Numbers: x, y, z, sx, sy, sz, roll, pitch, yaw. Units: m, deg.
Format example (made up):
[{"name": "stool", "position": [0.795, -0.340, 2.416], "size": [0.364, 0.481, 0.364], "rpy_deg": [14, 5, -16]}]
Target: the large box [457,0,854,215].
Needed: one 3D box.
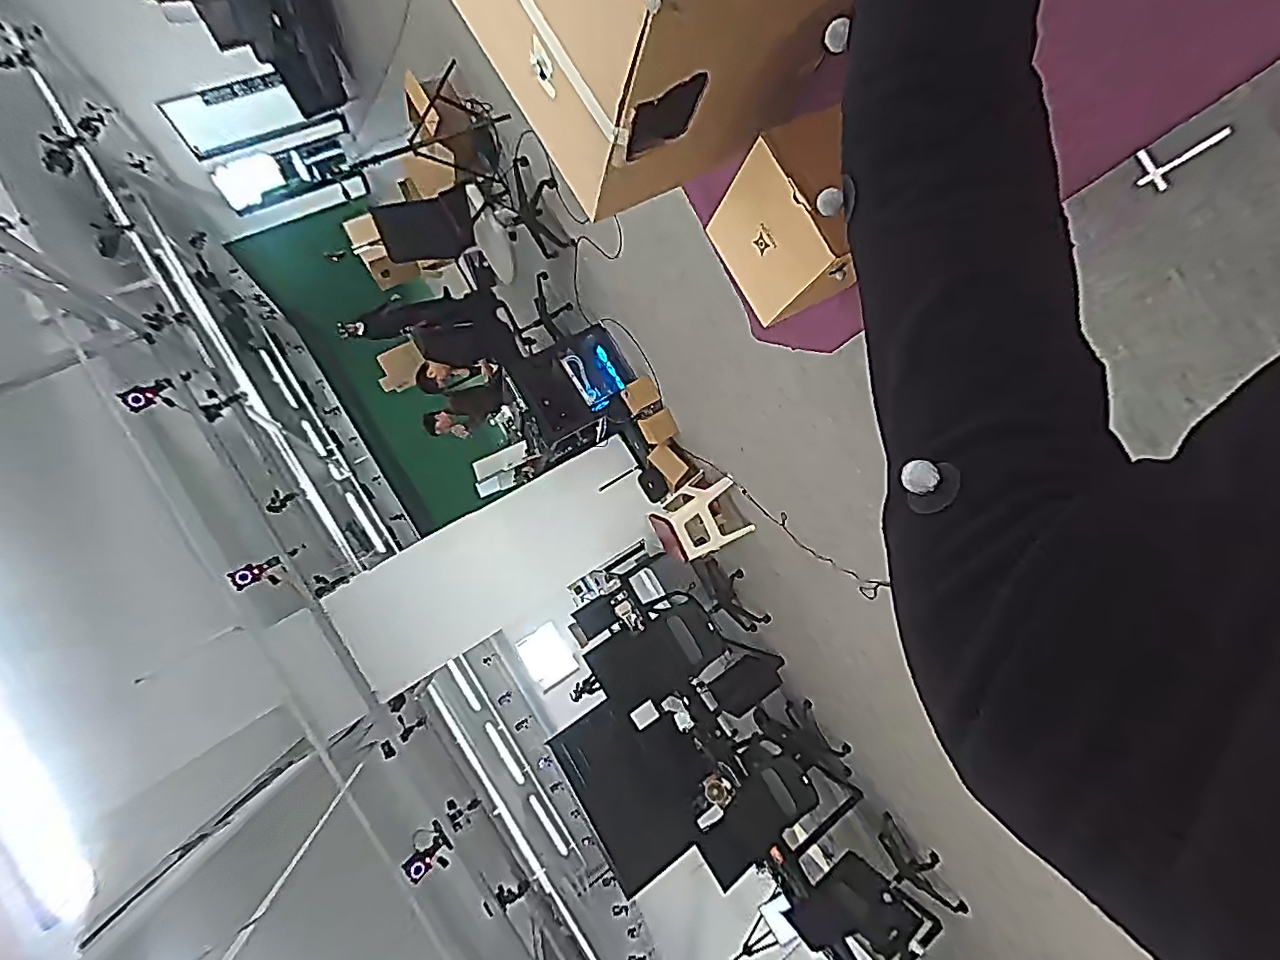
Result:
[{"name": "large box", "position": [0.000, -0.614, 0.614], "size": [0.408, 0.320, 0.320], "rpy_deg": [56, 164, 1]}]
